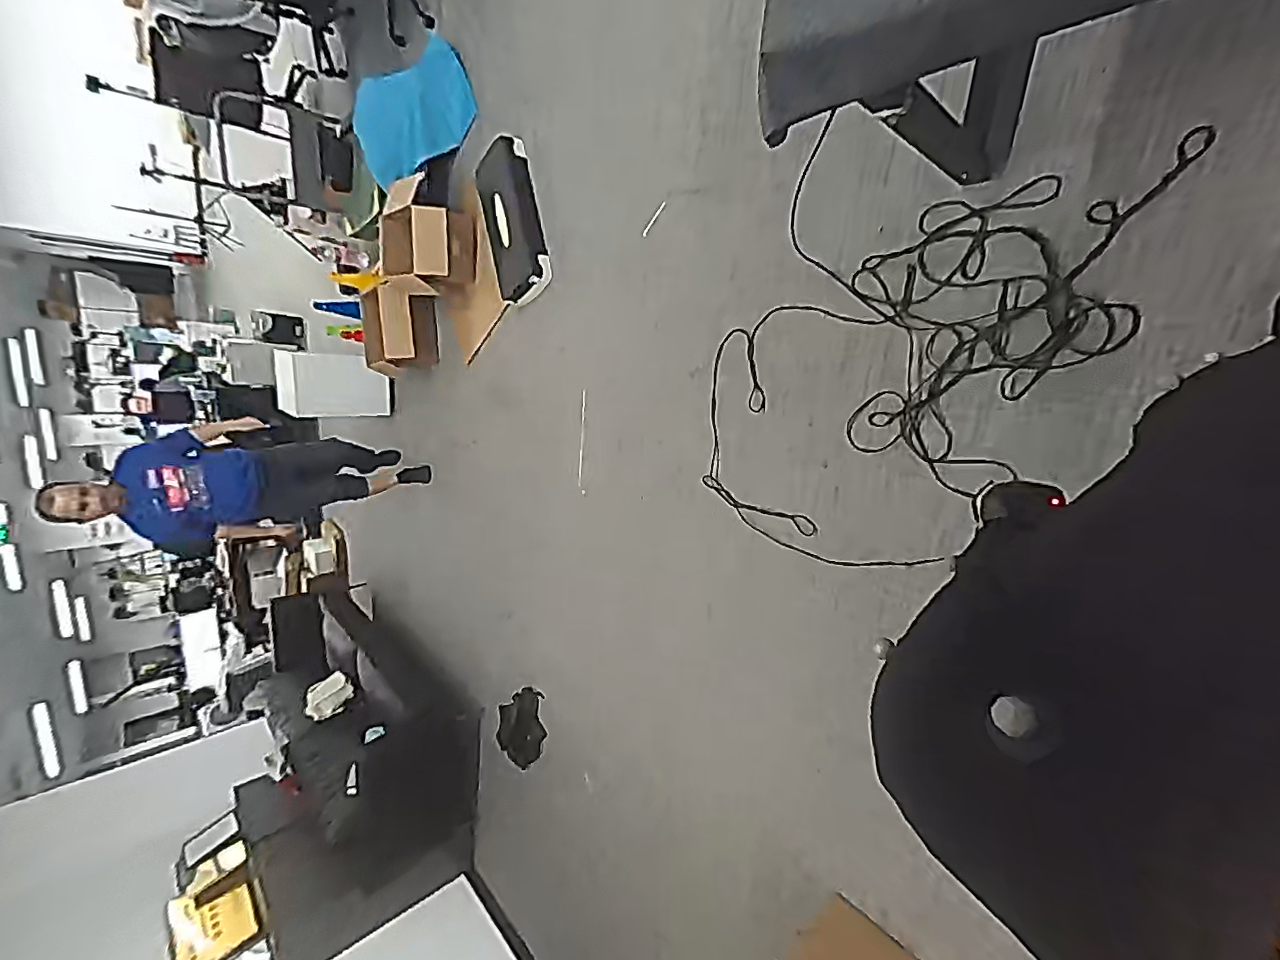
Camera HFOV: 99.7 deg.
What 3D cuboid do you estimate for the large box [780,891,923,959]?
[{"bbox_3d":[0.602,1.426,1.413,0.408,0.320,0.320,20,110,45],"label":"large box"}]
